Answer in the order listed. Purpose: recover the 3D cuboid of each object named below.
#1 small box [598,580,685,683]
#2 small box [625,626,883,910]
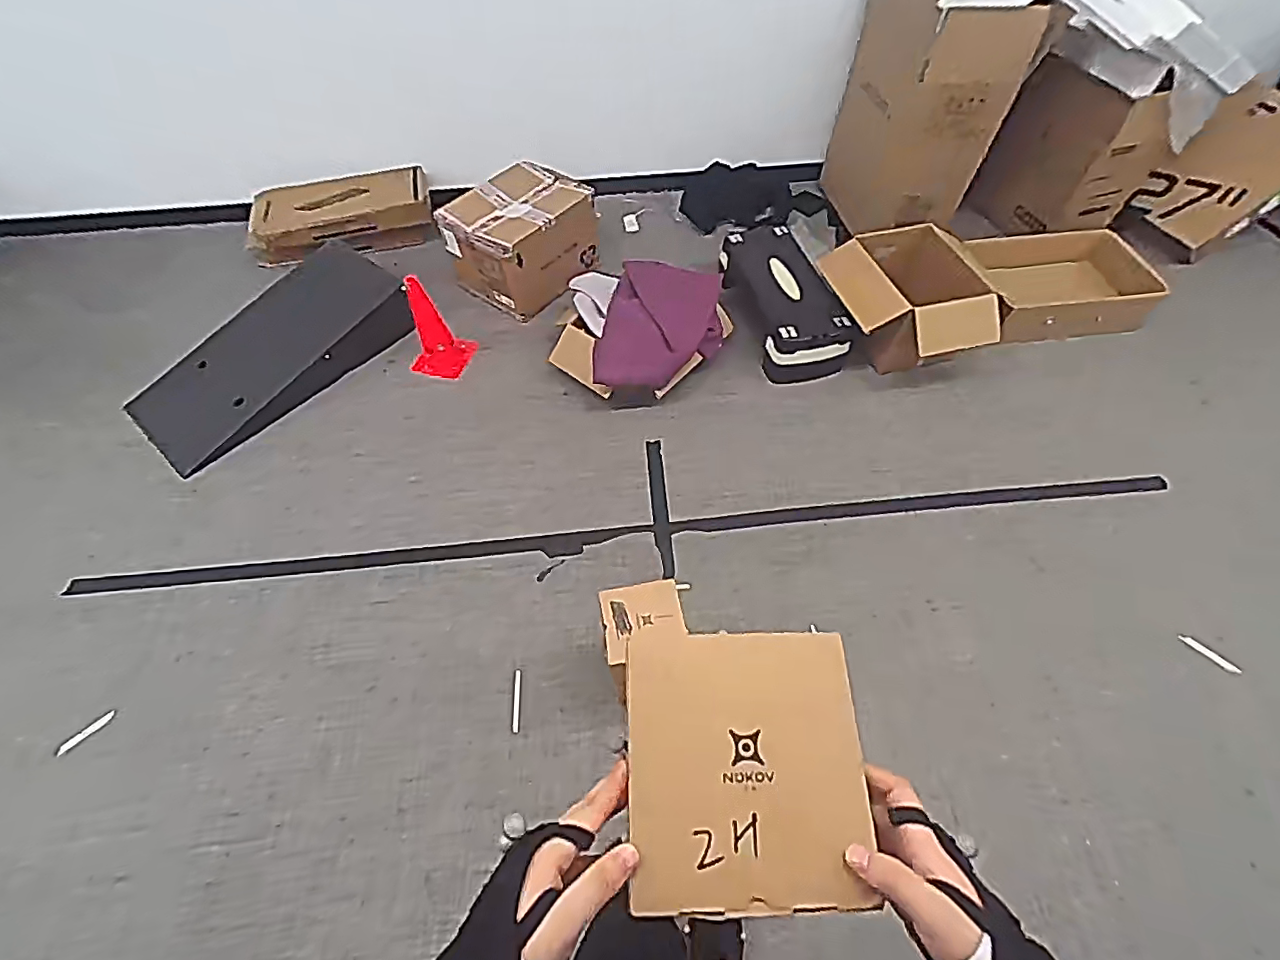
[{"bbox_3d":[0.009,0.347,1.221,0.179,0.176,0.168,-9,57,-4],"label":"small box"},{"bbox_3d":[0.071,0.226,0.449,0.168,0.176,0.179,-1,65,-1],"label":"small box"}]
